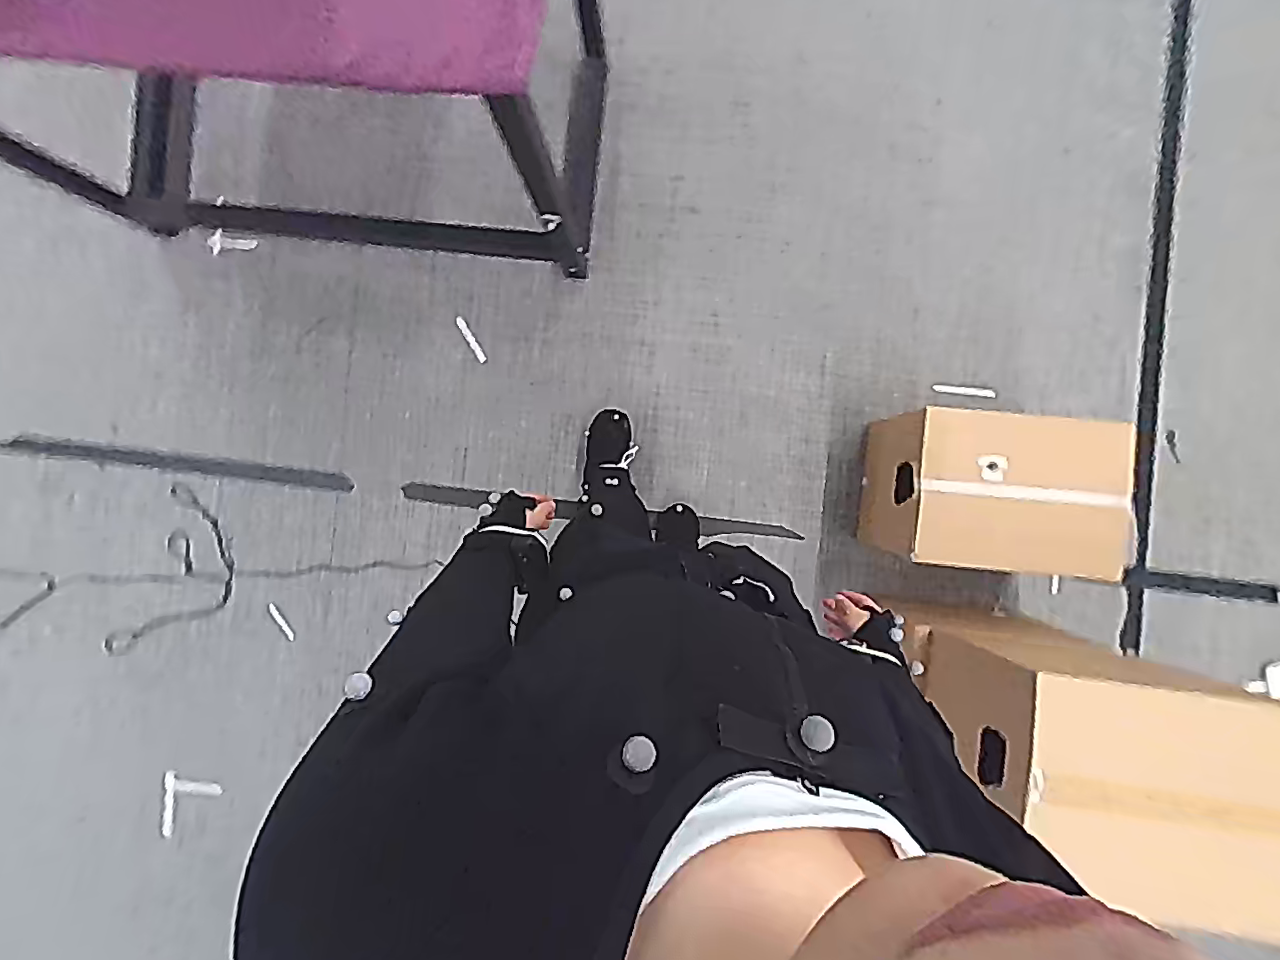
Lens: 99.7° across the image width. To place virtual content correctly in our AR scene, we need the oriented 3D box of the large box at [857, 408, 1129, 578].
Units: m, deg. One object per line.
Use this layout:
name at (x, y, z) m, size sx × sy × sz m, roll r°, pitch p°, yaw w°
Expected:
large box at (0.749, 0.022, 1.206) m, size 0.408 × 0.320 × 0.320 m, roll 5°, pitch 89°, yaw 4°
